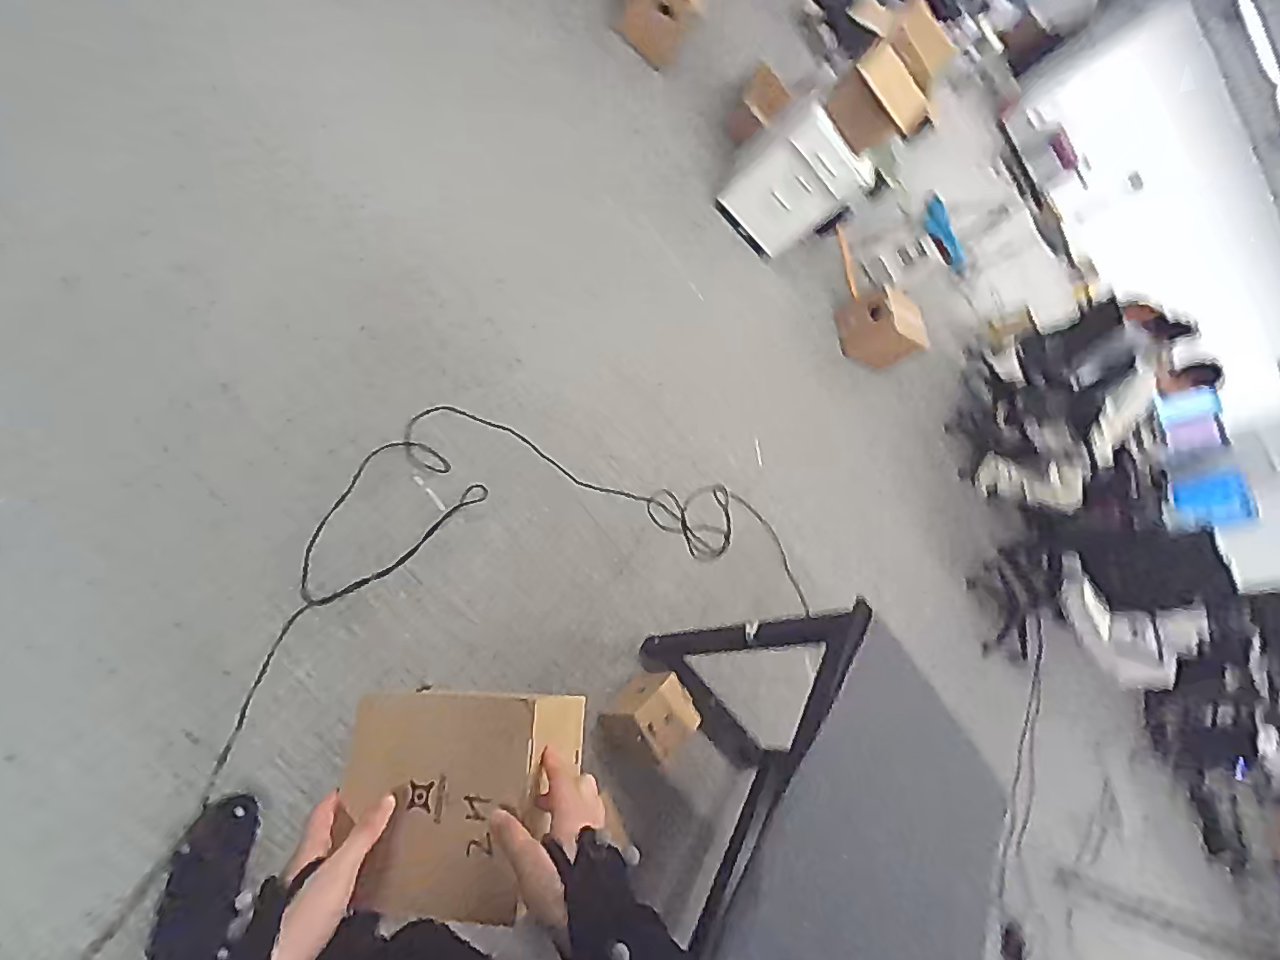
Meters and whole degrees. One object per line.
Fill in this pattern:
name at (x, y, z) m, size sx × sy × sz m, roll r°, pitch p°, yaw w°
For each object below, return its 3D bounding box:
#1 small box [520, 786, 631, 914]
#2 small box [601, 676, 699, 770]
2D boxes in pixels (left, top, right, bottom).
small box at (-0.158, 0.847, 1.259) m, size 0.179 × 0.176 × 0.168 m, roll -21°, pitch 88°, yaw -45°
small box at (0.025, 0.662, 1.489) m, size 0.179 × 0.176 × 0.168 m, roll -32°, pitch 94°, yaw -44°
